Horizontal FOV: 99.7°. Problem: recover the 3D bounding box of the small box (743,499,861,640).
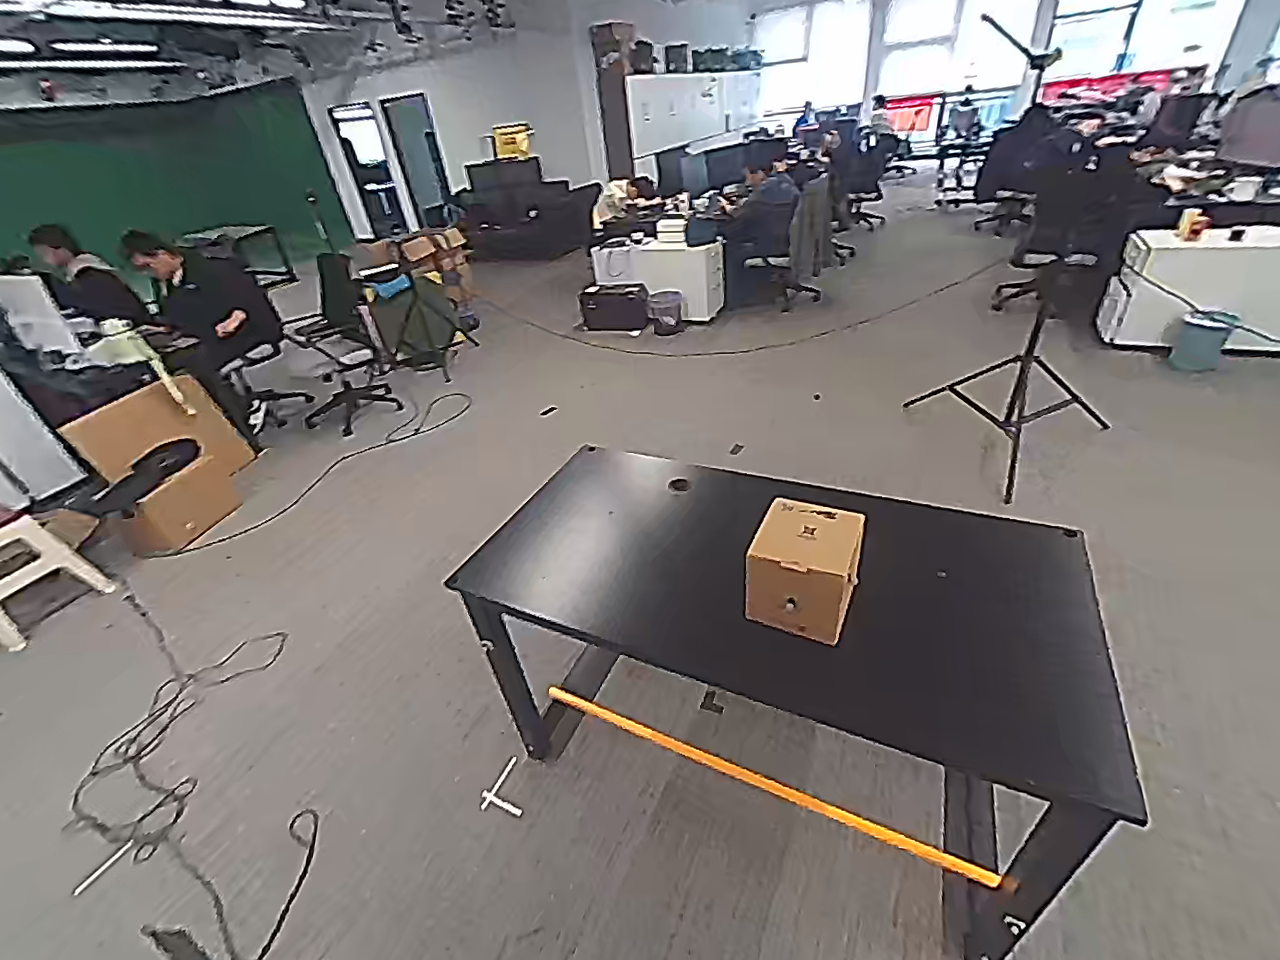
[{"bbox_3d":[0.299,0.163,0.998,0.168,0.176,0.179,12,39,27],"label":"small box"}]
